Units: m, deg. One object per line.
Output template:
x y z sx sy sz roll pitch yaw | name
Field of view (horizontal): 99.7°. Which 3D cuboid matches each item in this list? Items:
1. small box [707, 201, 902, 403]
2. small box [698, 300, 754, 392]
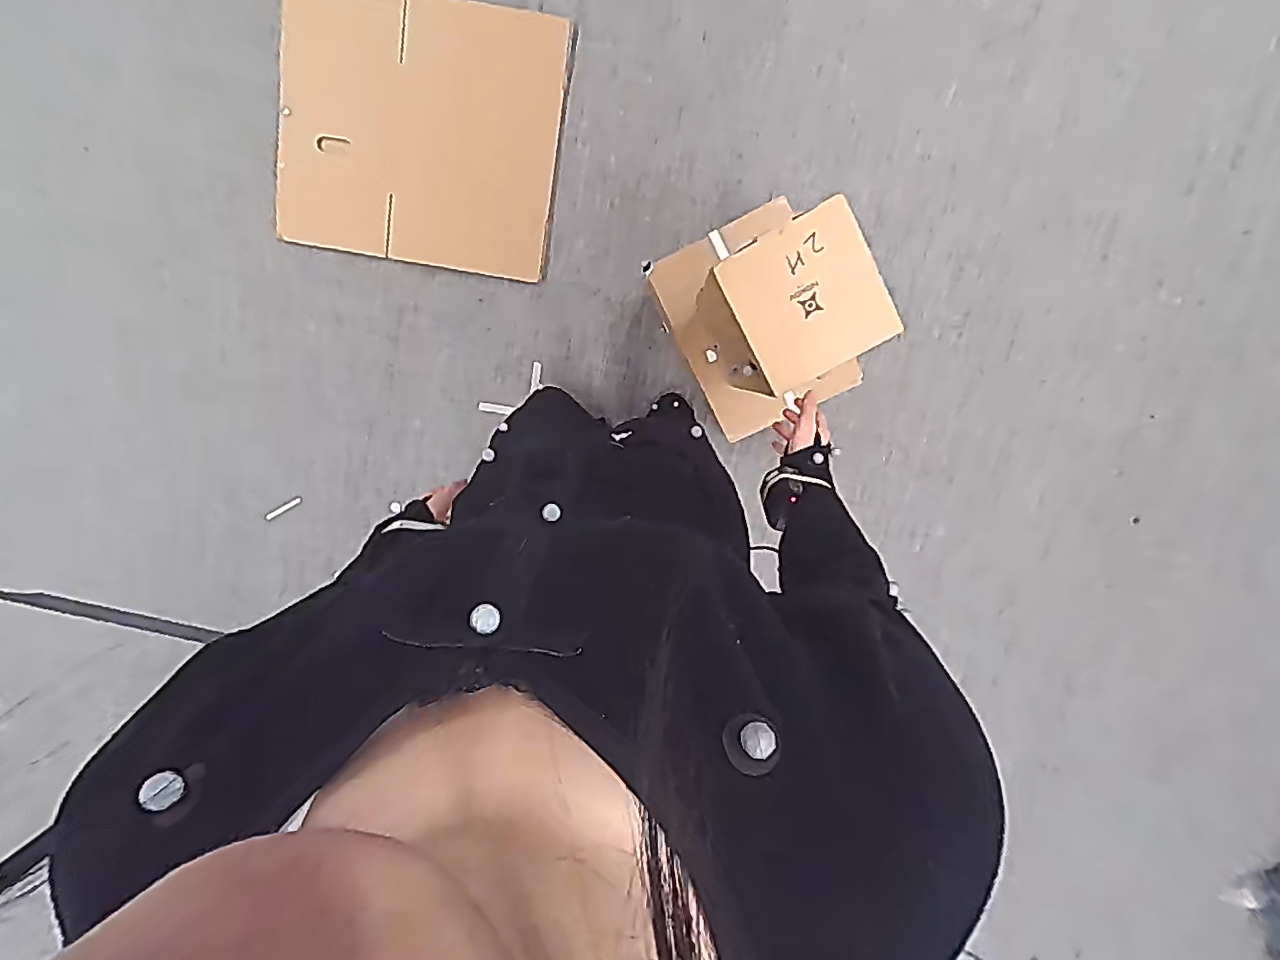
0.200 -0.219 0.705 0.168 0.176 0.179 -28 98 7 | small box
0.219 -0.283 1.028 0.168 0.176 0.179 -28 99 9 | small box
